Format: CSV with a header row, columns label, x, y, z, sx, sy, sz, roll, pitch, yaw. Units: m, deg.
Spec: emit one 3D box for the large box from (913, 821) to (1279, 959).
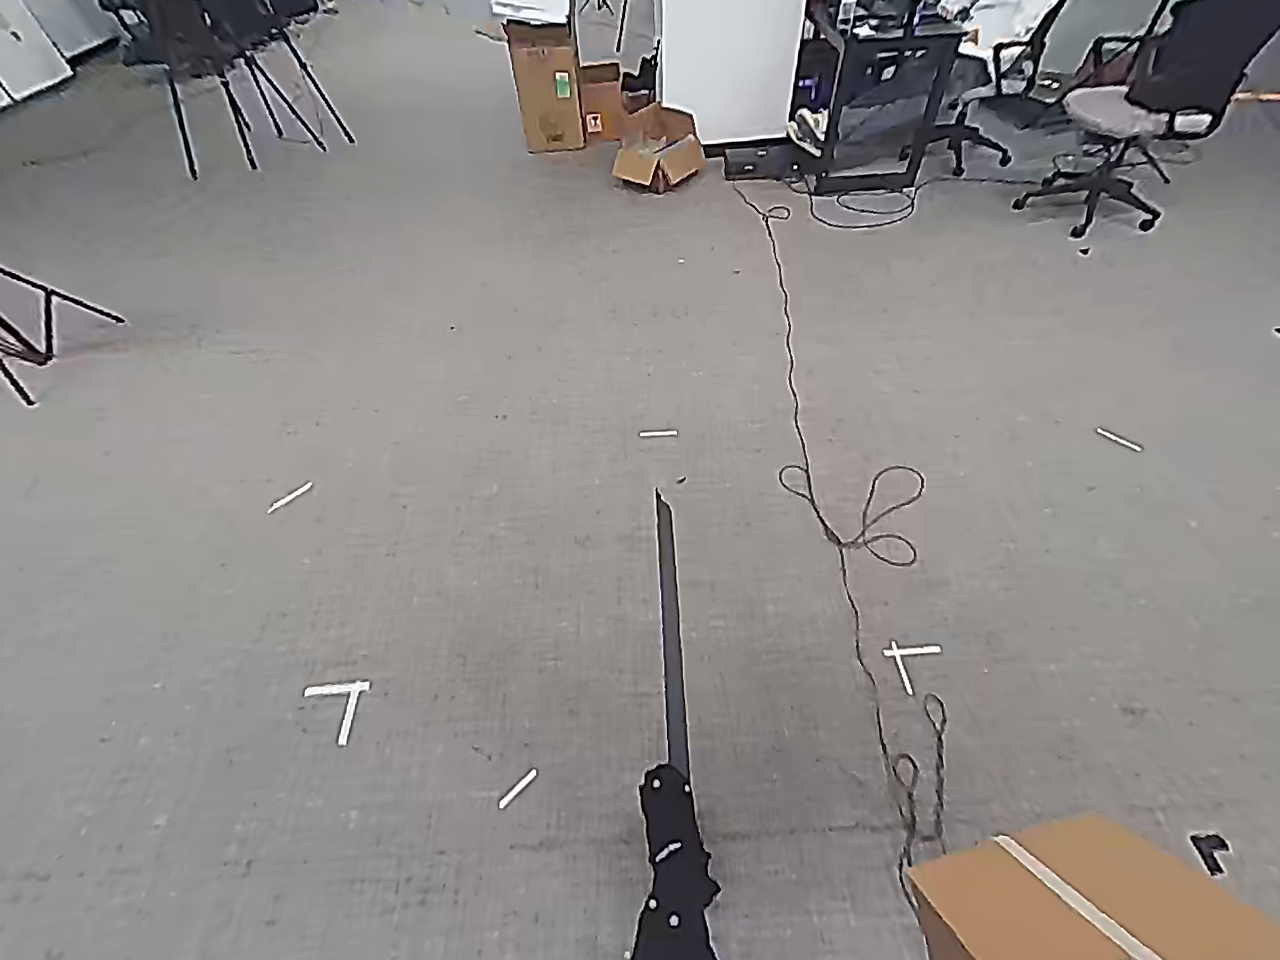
label,x,y,z,sx,sy,sz,roll,pitch,yaw
large box,0.597,0.683,0.612,0.320,0.408,0.320,-16,85,-2
